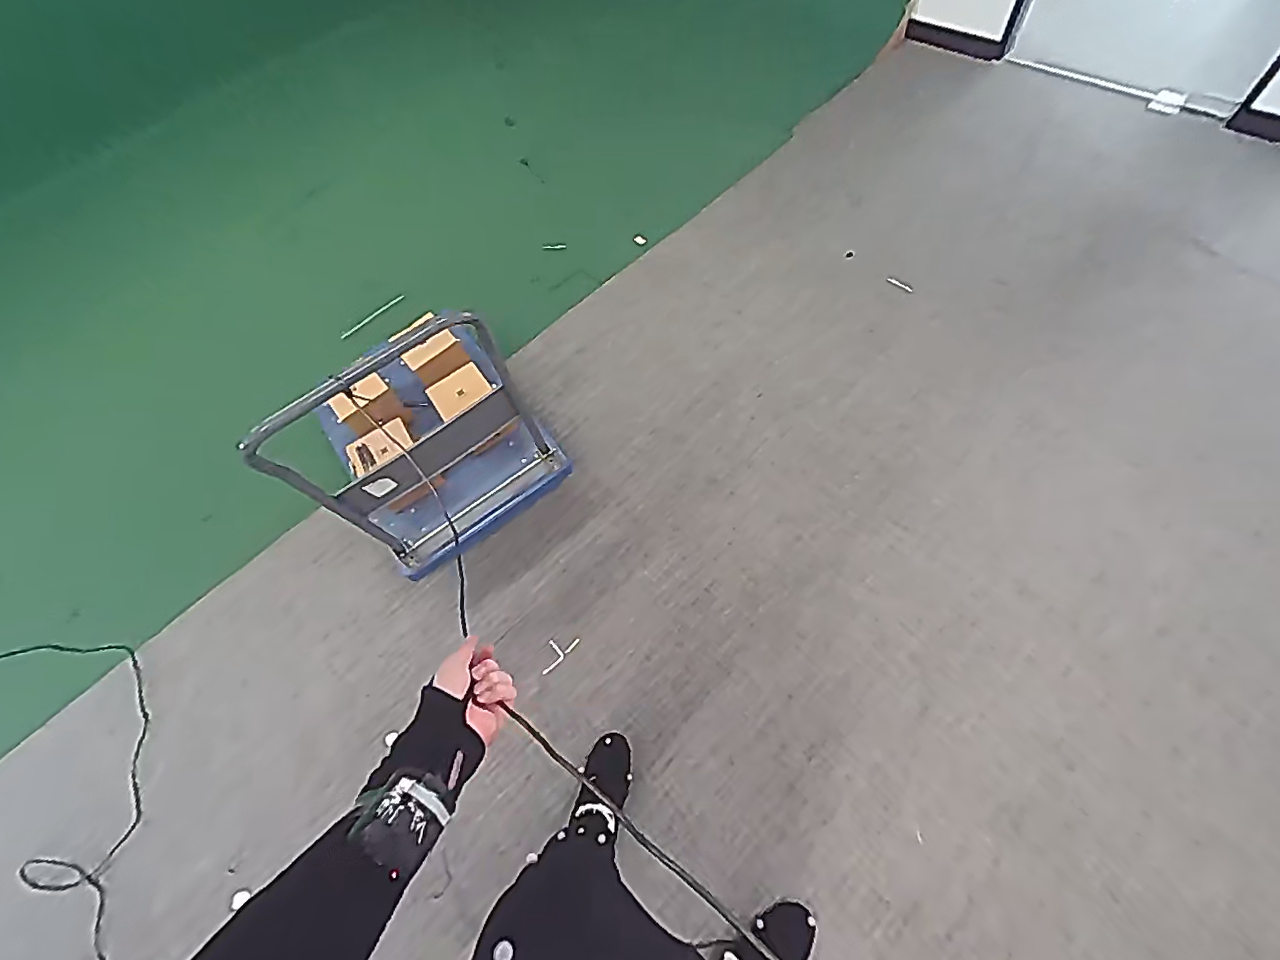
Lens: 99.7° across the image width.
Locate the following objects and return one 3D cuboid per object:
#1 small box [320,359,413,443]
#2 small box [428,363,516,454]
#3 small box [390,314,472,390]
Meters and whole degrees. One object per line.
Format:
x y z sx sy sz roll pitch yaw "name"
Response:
-0.857 -0.241 1.710 0.168 0.176 0.179 -39 65 -12 "small box"
-0.507 -0.213 1.645 0.168 0.176 0.179 -35 64 -10 "small box"
-0.667 -0.398 1.761 0.168 0.176 0.179 -40 66 -11 "small box"
